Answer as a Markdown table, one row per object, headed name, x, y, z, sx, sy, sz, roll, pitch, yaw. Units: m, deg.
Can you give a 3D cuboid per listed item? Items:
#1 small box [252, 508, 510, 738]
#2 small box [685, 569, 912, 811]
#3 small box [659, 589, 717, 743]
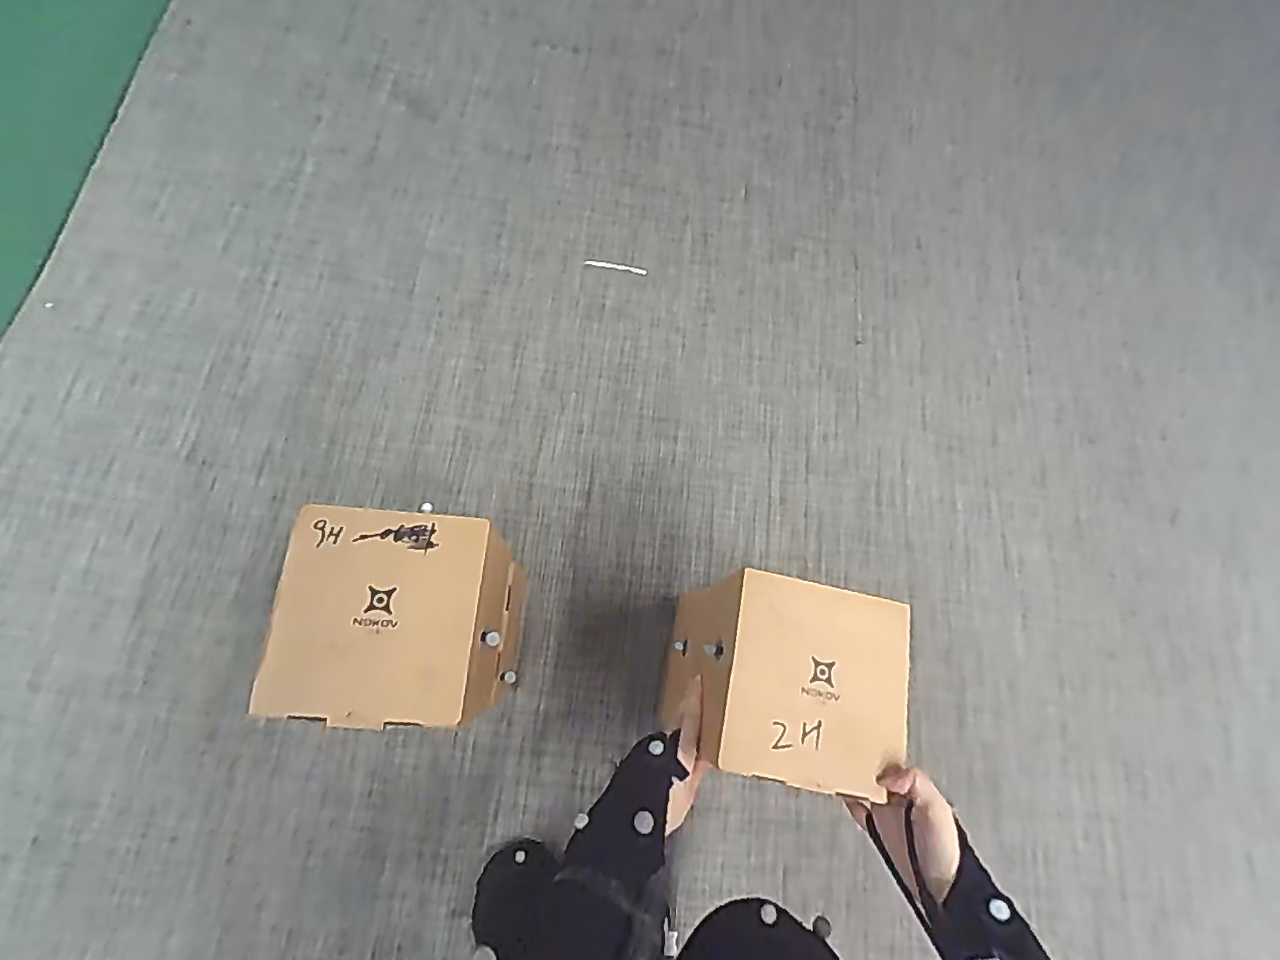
| name | x | y | z | sx | sy | sz | roll | pitch | yaw |
| --- | --- | --- | --- | --- | --- | --- | --- | --- | --- |
| small box | -0.225 | 0.136 | 0.525 | 0.168 | 0.176 | 0.179 | 6 | 74 | -6 |
| small box | 0.151 | 0.206 | 0.554 | 0.168 | 0.176 | 0.179 | 13 | 70 | -3 |
| small box | 0.129 | 0.254 | 0.712 | 0.168 | 0.176 | 0.179 | 14 | 73 | -3 |
